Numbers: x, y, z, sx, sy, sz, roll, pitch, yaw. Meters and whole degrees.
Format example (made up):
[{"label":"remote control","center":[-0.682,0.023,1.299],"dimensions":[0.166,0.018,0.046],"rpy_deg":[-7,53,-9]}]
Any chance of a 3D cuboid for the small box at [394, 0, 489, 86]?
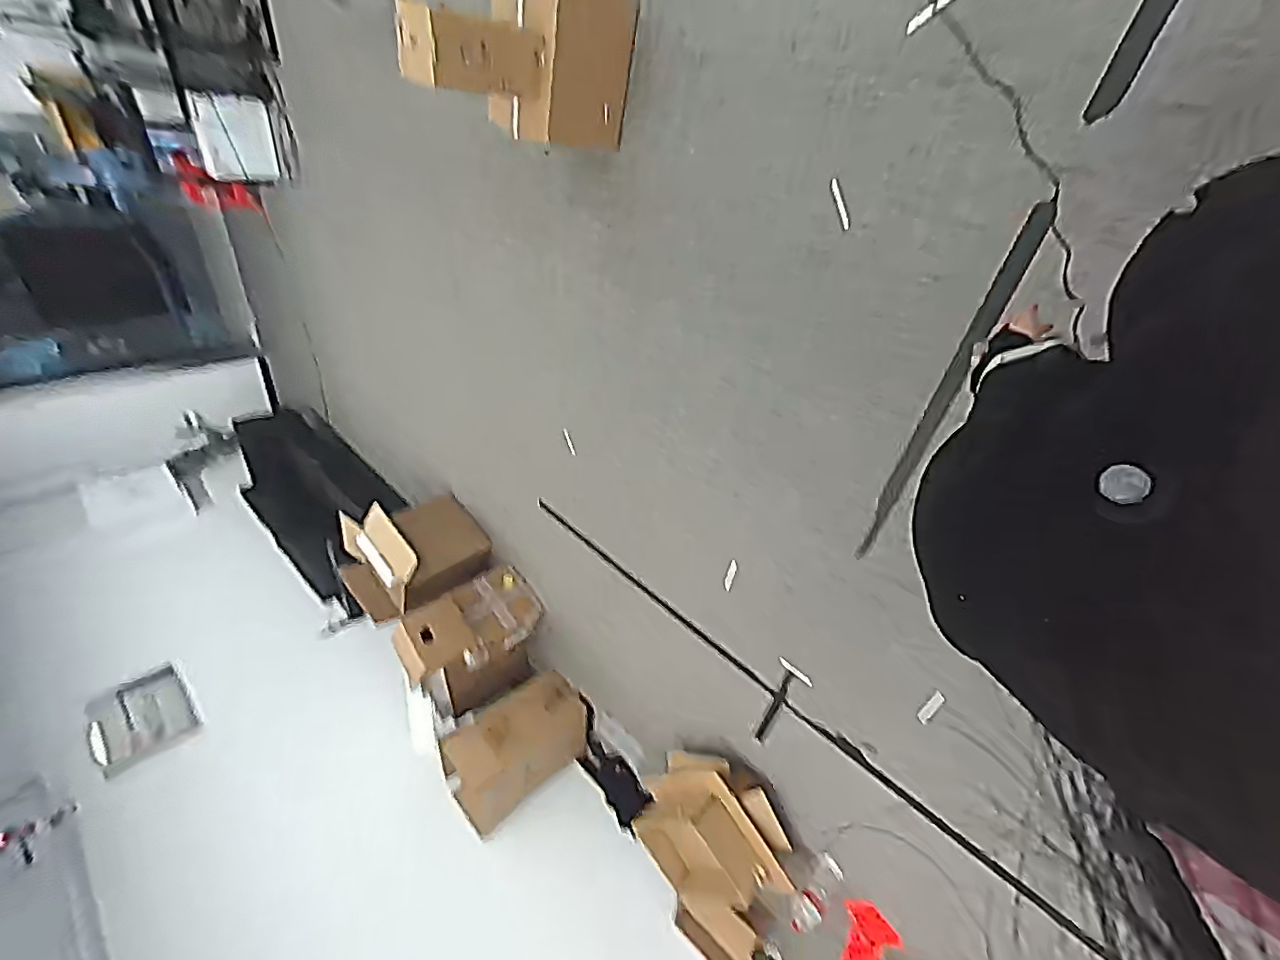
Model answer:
[{"label":"small box","center":[-0.510,-1.144,1.405],"dimensions":[0.179,0.176,0.168],"rpy_deg":[38,135,26]}]
